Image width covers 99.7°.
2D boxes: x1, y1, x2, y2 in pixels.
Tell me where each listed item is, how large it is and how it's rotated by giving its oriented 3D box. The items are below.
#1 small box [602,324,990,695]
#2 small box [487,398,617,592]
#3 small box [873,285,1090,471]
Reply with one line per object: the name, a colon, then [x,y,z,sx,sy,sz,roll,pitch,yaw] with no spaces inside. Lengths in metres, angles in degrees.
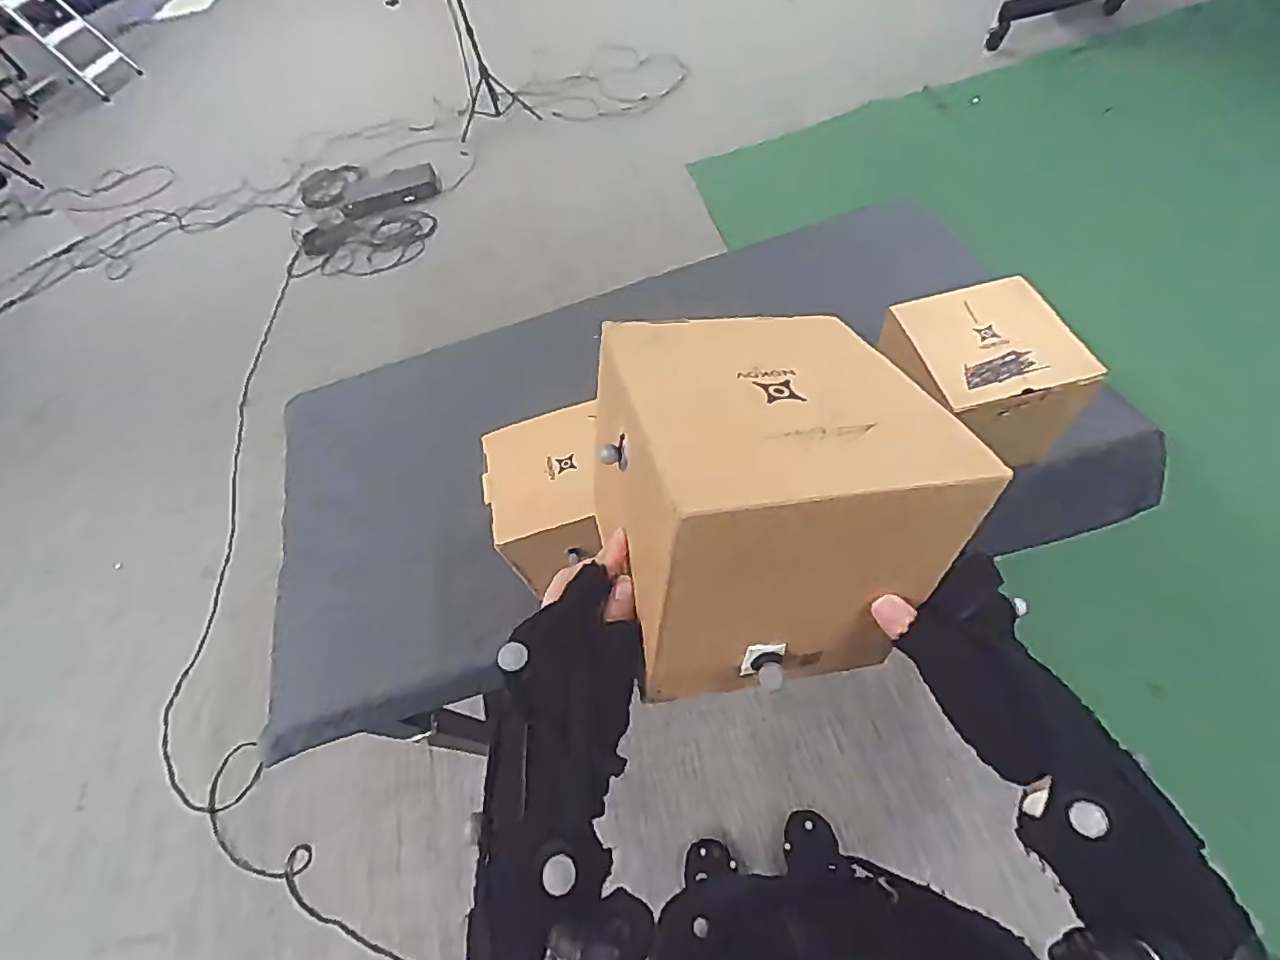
small box: [0.069,0.012,0.360,0.168,0.176,0.179,-5,43,-12]
small box: [-0.081,0.027,0.707,0.179,0.176,0.168,-17,56,0]
small box: [0.414,-0.115,0.703,0.168,0.176,0.179,-12,56,3]
